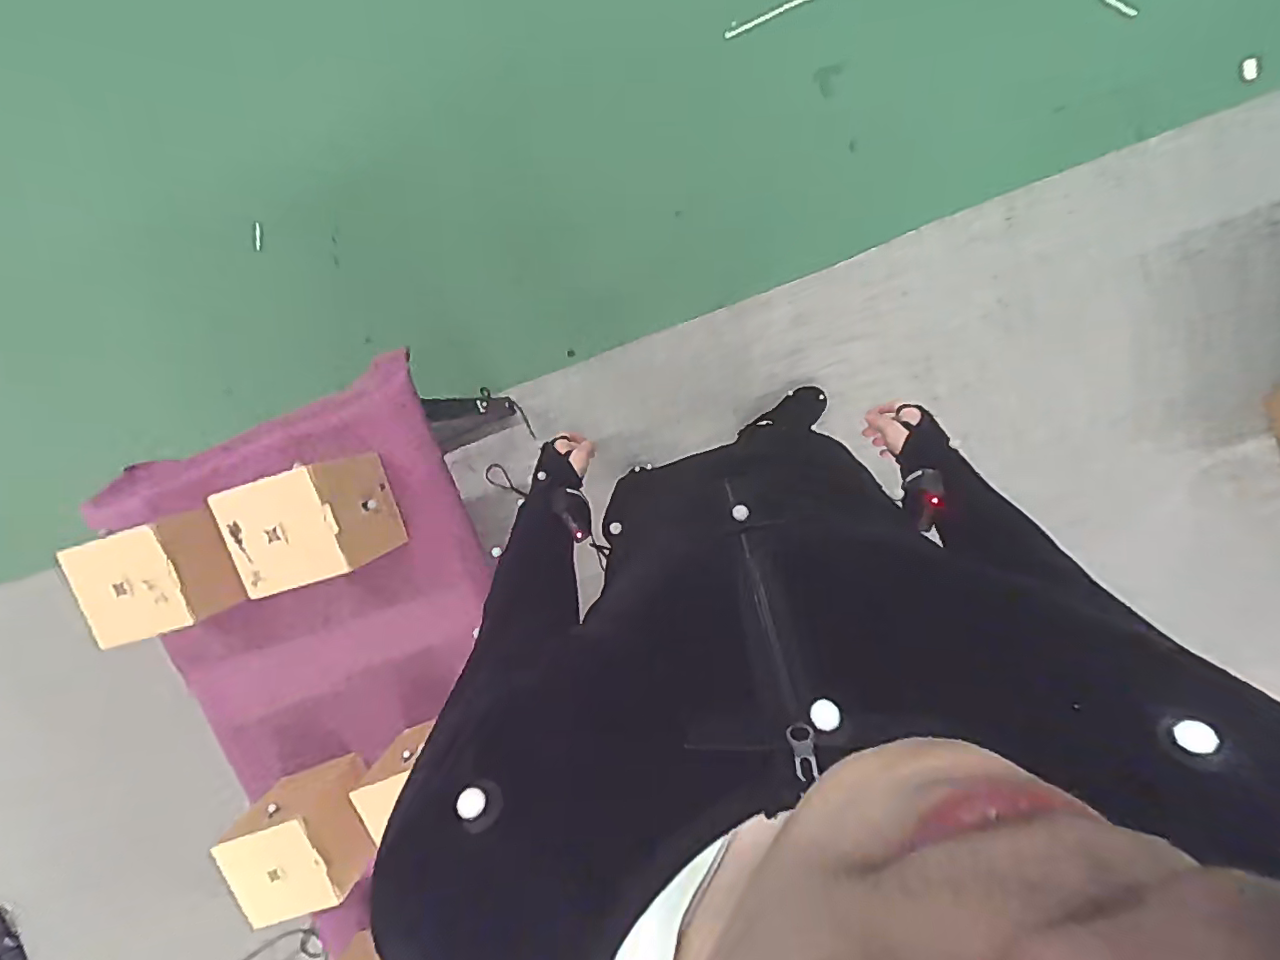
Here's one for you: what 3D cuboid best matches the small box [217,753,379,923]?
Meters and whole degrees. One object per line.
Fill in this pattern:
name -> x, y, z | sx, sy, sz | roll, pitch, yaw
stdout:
small box -> -0.588, 0.631, 0.971 | 0.179, 0.176, 0.168 | -22, 96, 7

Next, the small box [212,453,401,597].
small box -> -0.514, 0.063, 0.866 | 0.179, 0.176, 0.168 | -15, 98, 9

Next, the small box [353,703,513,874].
small box -> -0.337, 0.516, 0.928 | 0.179, 0.176, 0.168 | -24, 96, 10

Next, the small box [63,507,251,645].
small box -> -0.774, 0.149, 0.906 | 0.179, 0.176, 0.168 | -16, 99, 7
